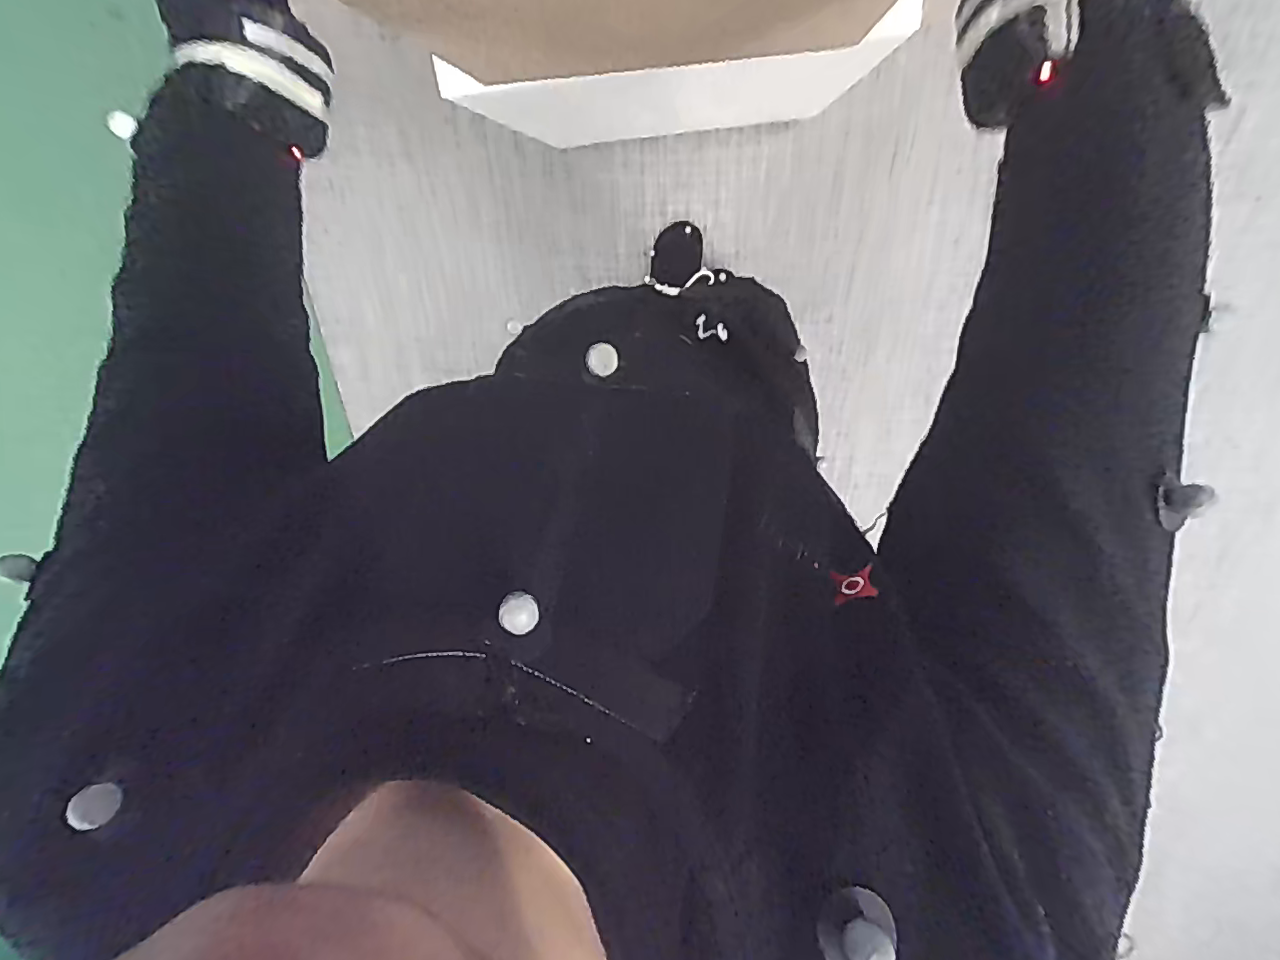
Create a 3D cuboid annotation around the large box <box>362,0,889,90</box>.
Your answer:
[{"bbox_3d":[0.001,-0.513,0.380,0.408,0.320,0.320,-2,116,6],"label":"large box"}]
